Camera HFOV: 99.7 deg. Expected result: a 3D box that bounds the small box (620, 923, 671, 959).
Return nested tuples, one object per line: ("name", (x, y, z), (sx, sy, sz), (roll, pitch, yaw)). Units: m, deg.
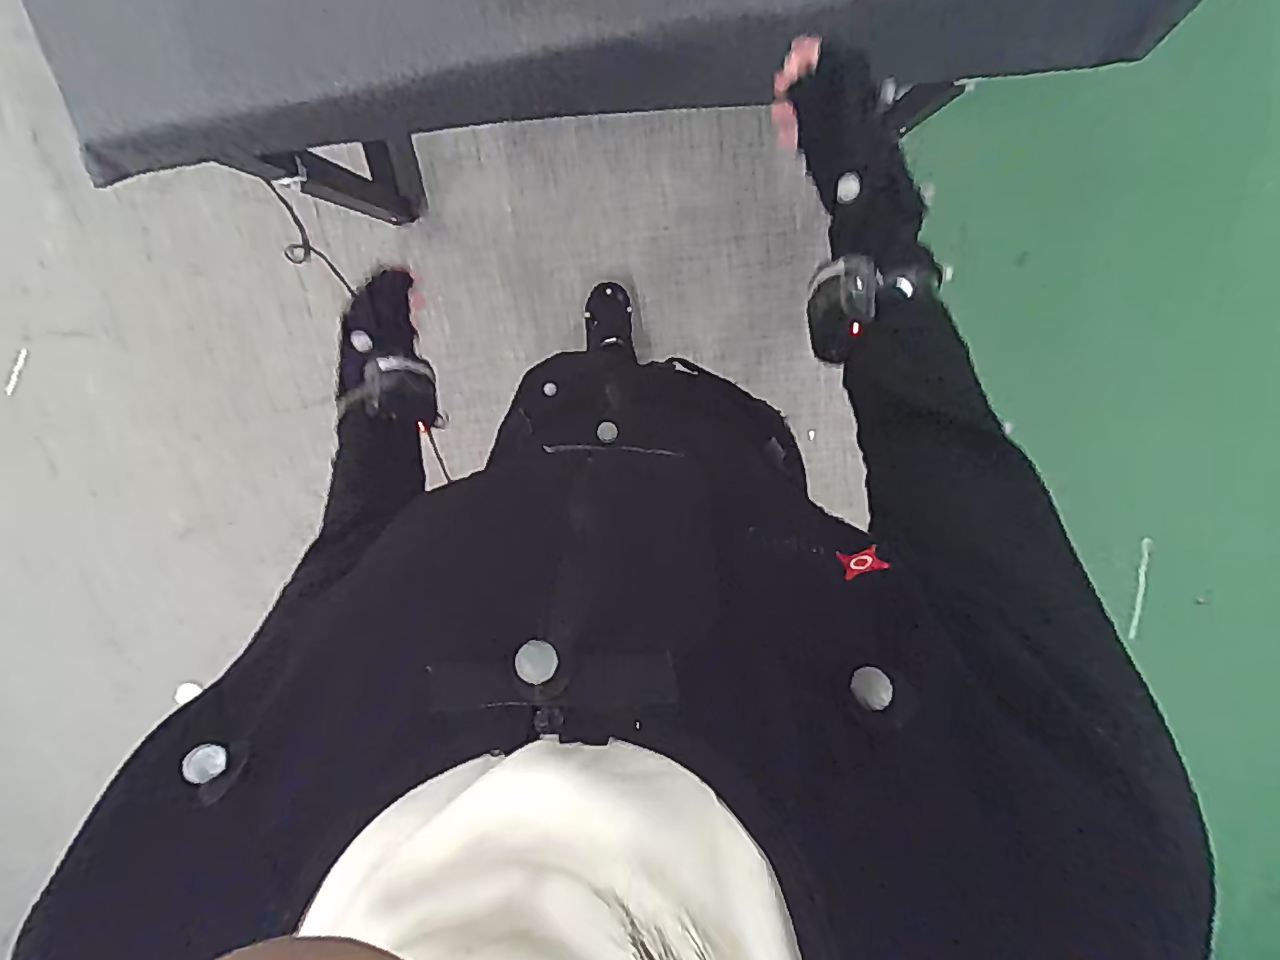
("small box", (0.022, 1.713, 1.914), (0.179, 0.176, 0.168), (-5, 107, 4))
